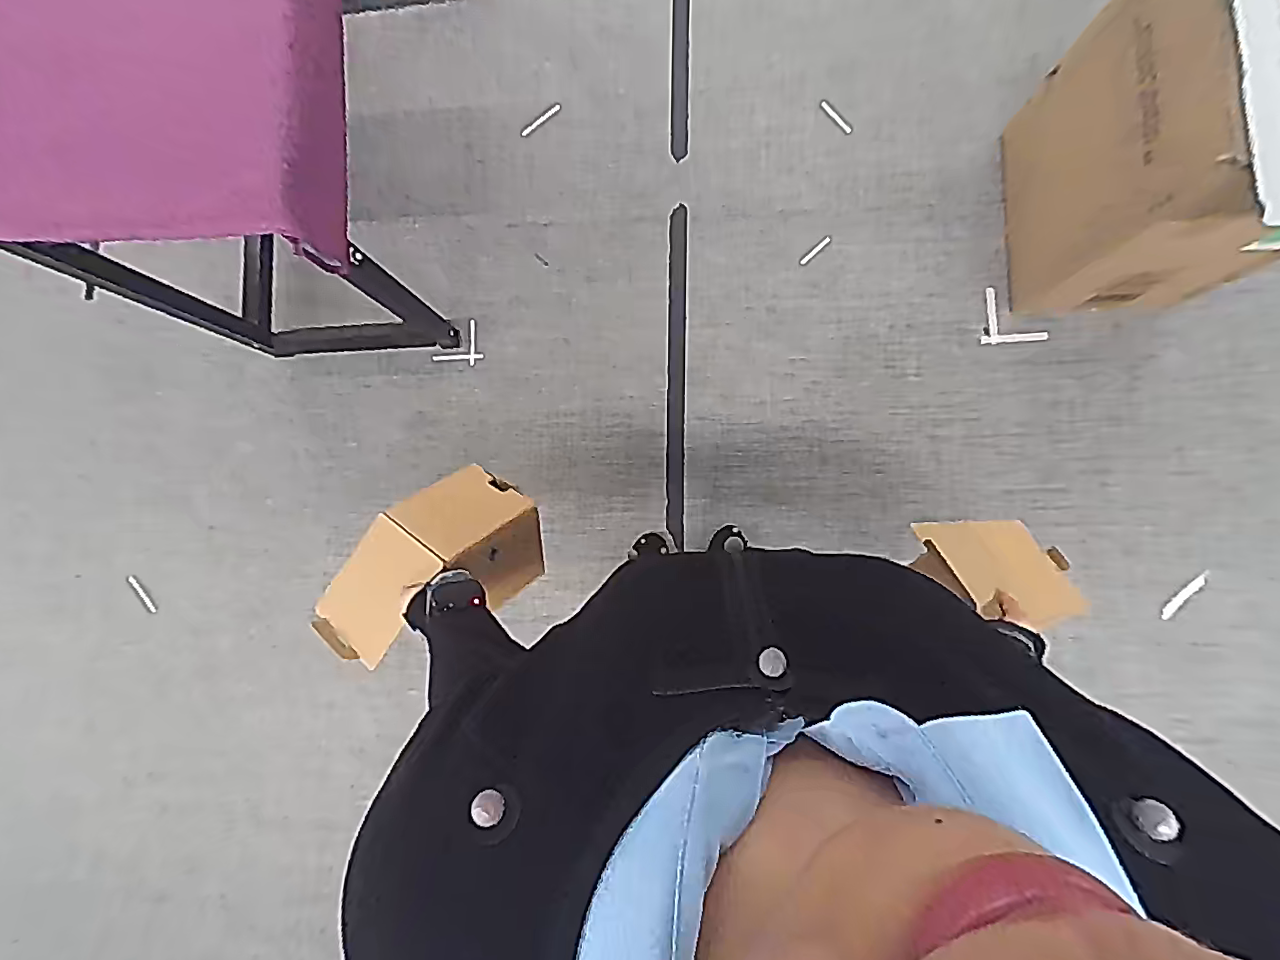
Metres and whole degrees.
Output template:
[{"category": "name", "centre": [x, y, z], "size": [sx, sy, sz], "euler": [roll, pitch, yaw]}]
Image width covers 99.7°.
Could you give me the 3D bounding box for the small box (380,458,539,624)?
[{"category": "small box", "centre": [-0.283, 0.099, 0.885], "size": [0.168, 0.176, 0.179], "euler": [29, 46, 28]}]
